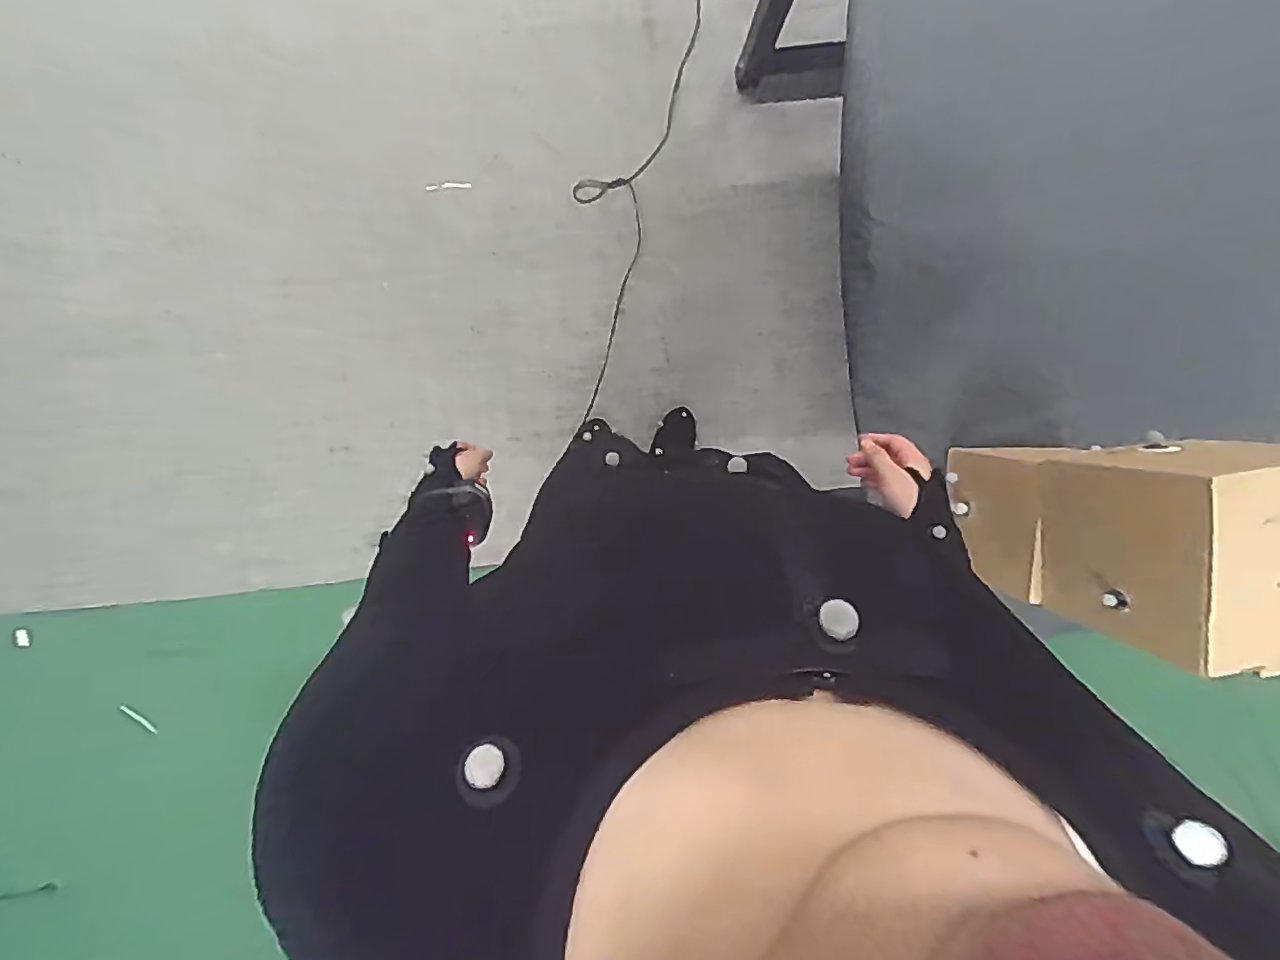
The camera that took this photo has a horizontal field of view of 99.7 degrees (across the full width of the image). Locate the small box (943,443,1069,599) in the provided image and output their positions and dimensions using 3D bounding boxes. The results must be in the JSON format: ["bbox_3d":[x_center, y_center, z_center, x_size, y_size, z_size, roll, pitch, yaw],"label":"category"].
[{"bbox_3d":[0.516,0.041,0.671,0.179,0.176,0.168,0,97,-3],"label":"small box"}]

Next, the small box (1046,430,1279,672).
[{"bbox_3d":[0.525,0.051,0.509,0.168,0.176,0.179,-9,97,-4],"label":"small box"}]
